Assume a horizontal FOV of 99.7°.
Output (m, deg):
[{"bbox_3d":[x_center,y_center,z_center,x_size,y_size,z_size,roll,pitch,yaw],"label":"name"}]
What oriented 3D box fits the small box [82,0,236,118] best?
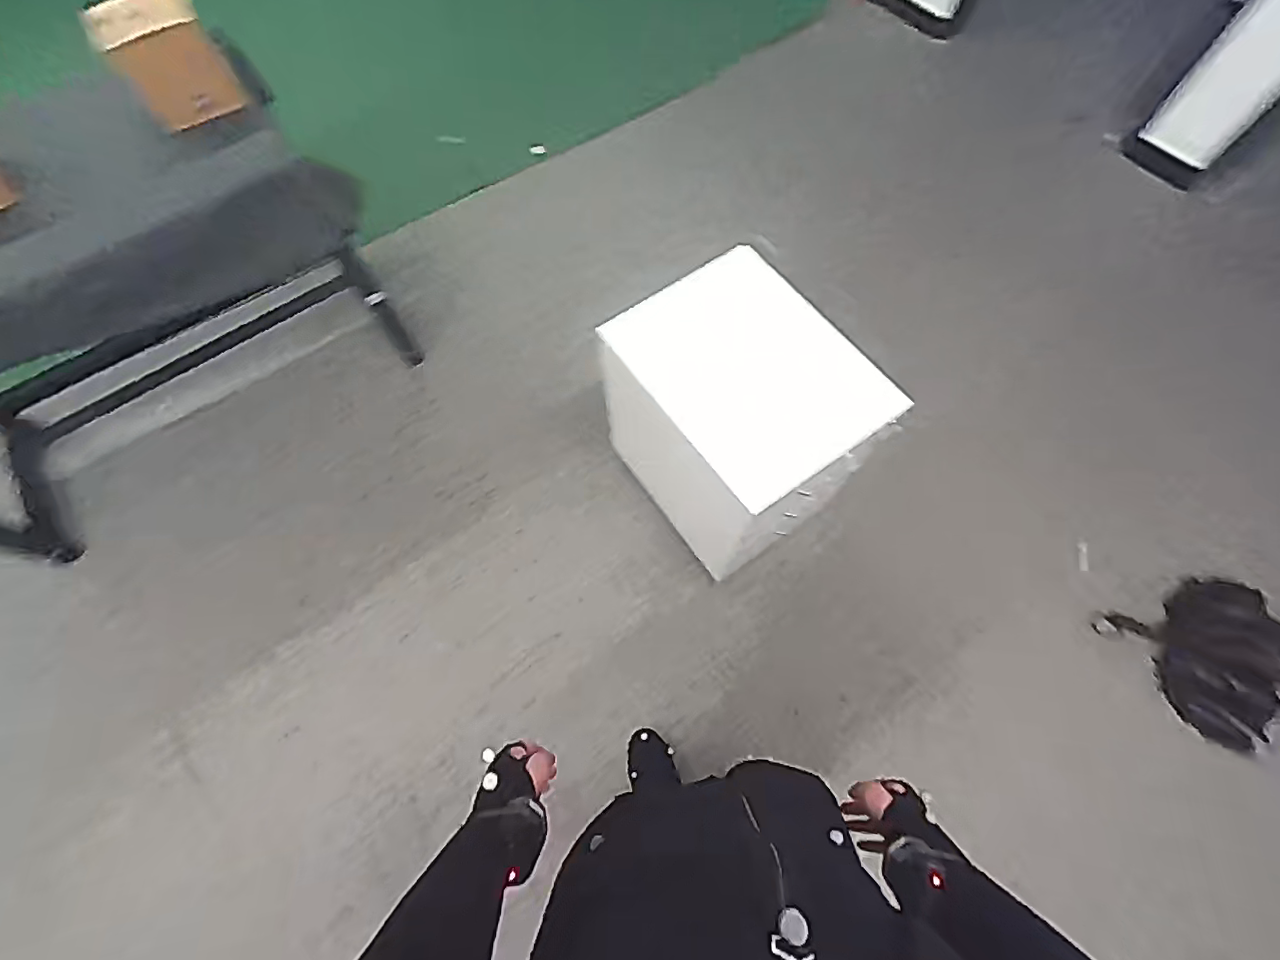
[{"bbox_3d":[-0.987,-0.902,1.124,0.179,0.176,0.168,-30,70,-14],"label":"small box"}]
